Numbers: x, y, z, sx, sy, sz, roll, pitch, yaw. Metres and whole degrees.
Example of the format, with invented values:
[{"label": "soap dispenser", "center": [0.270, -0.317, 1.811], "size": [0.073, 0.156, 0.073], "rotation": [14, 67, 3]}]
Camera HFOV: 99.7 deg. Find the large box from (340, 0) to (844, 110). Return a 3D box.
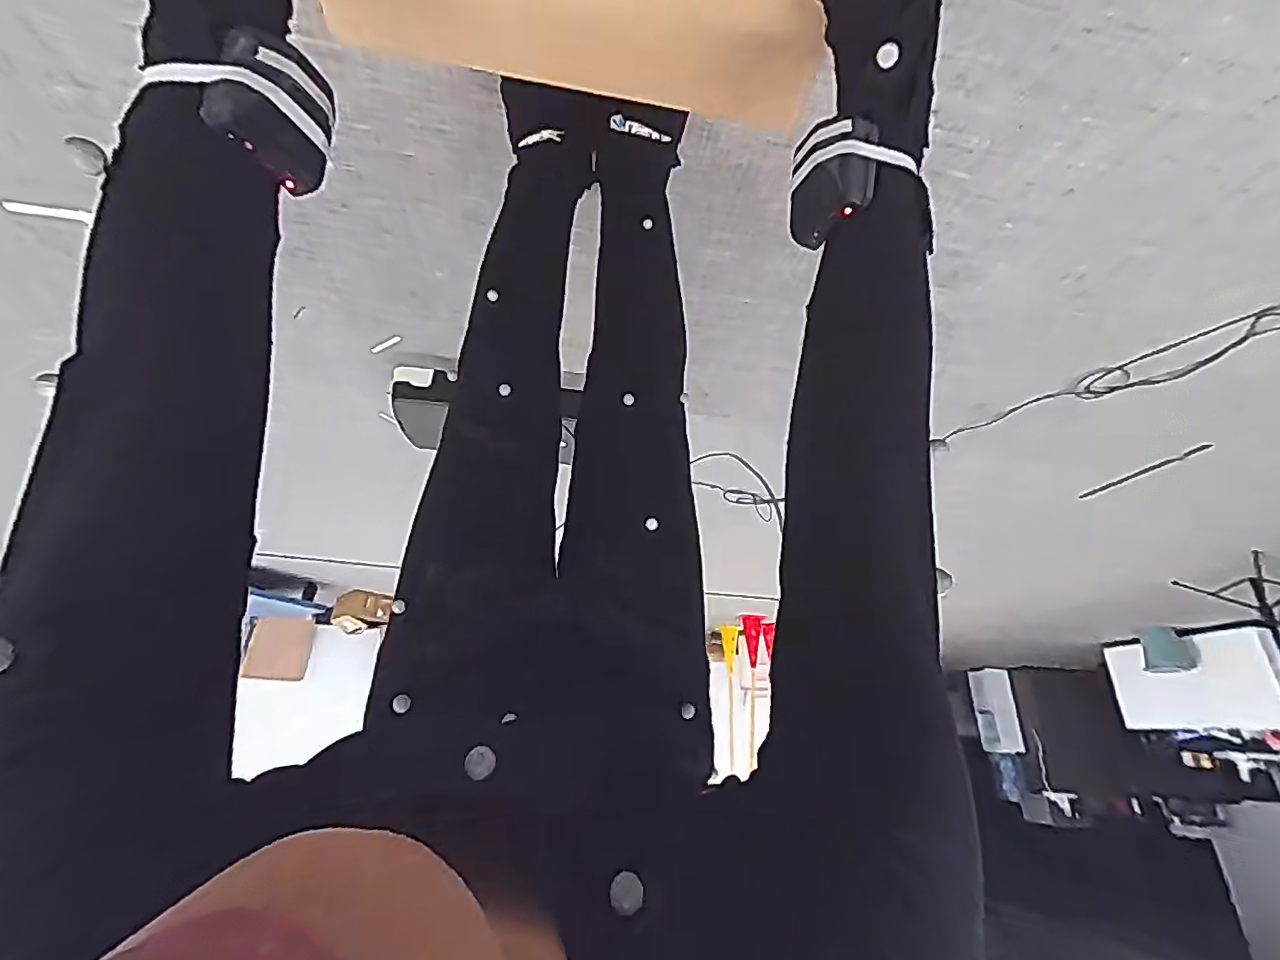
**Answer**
[{"label": "large box", "center": [-0.024, -0.553, 0.403], "size": [0.408, 0.320, 0.320], "rotation": [5, 155, -7]}]
